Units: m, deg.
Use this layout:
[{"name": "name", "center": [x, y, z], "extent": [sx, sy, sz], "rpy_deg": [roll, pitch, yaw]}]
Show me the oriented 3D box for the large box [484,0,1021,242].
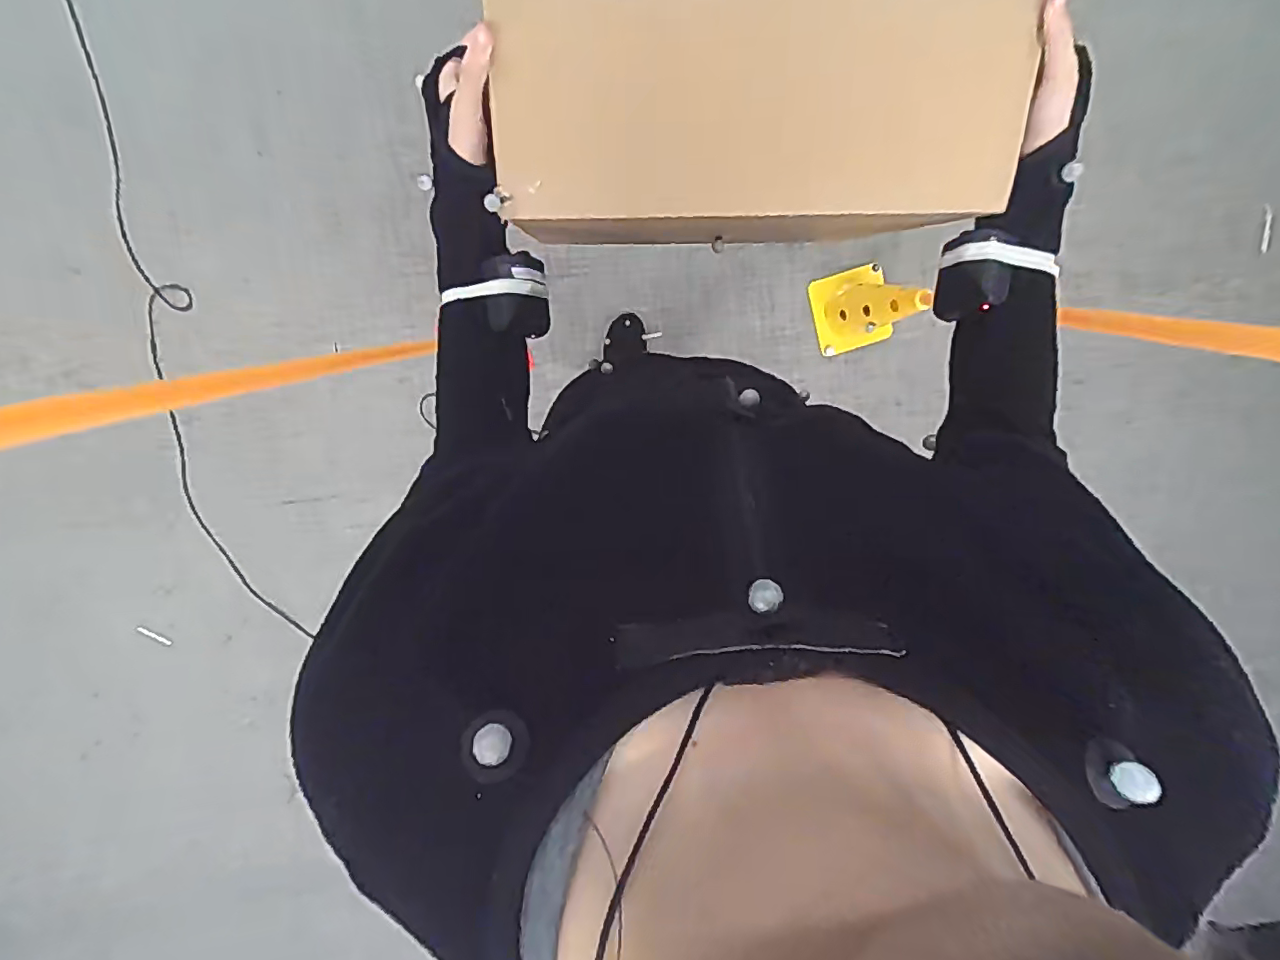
[{"name": "large box", "center": [0.080, -0.411, 0.527], "extent": [0.408, 0.320, 0.320], "rpy_deg": [-2, 110, -3]}]
